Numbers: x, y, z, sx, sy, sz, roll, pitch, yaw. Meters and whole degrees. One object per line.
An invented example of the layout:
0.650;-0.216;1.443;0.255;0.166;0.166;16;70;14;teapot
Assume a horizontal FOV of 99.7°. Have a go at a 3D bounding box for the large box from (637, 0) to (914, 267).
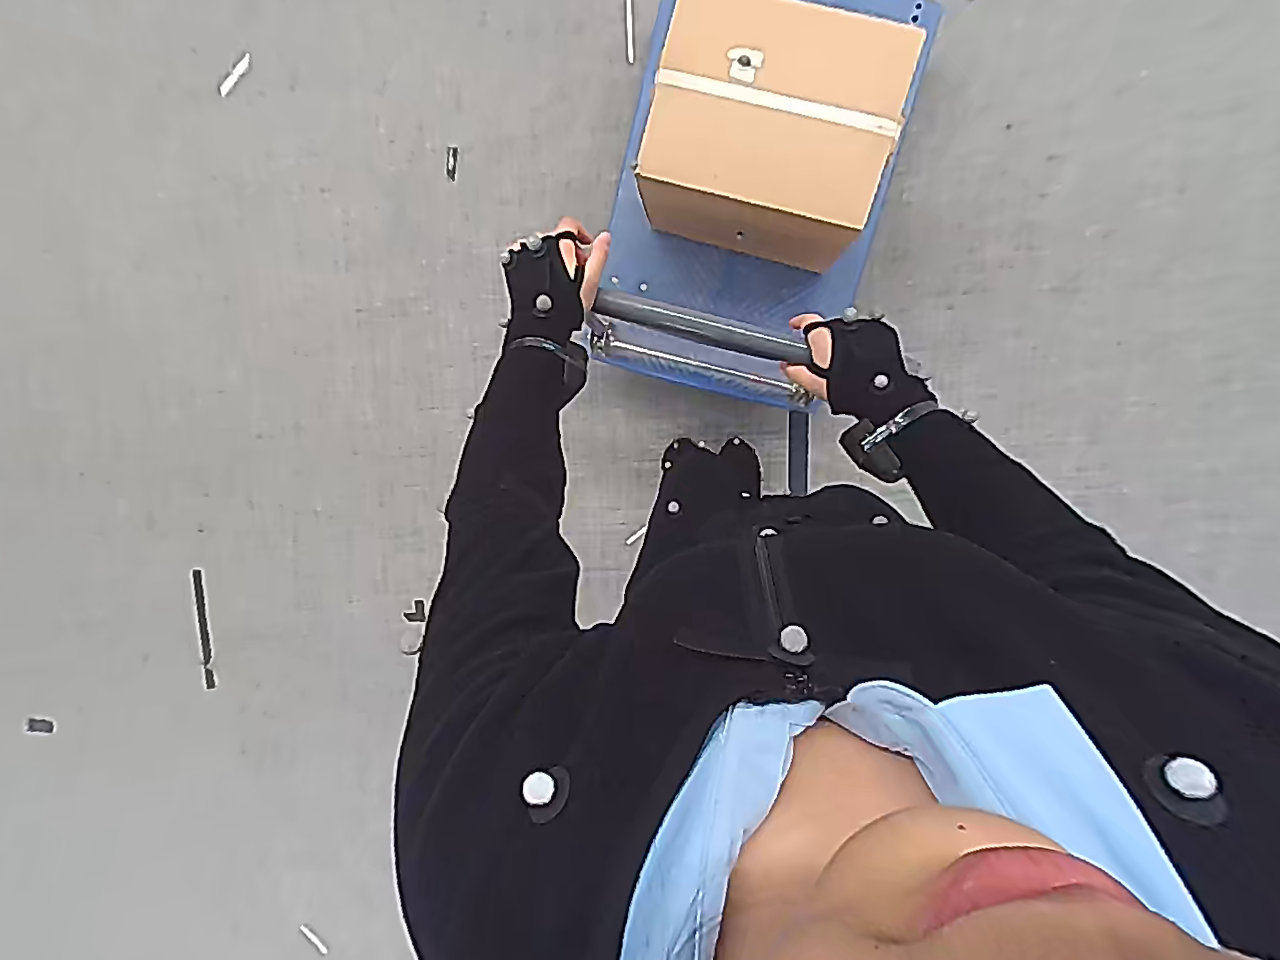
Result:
0.241;-0.648;1.064;0.408;0.320;0.320;16;99;5;large box
